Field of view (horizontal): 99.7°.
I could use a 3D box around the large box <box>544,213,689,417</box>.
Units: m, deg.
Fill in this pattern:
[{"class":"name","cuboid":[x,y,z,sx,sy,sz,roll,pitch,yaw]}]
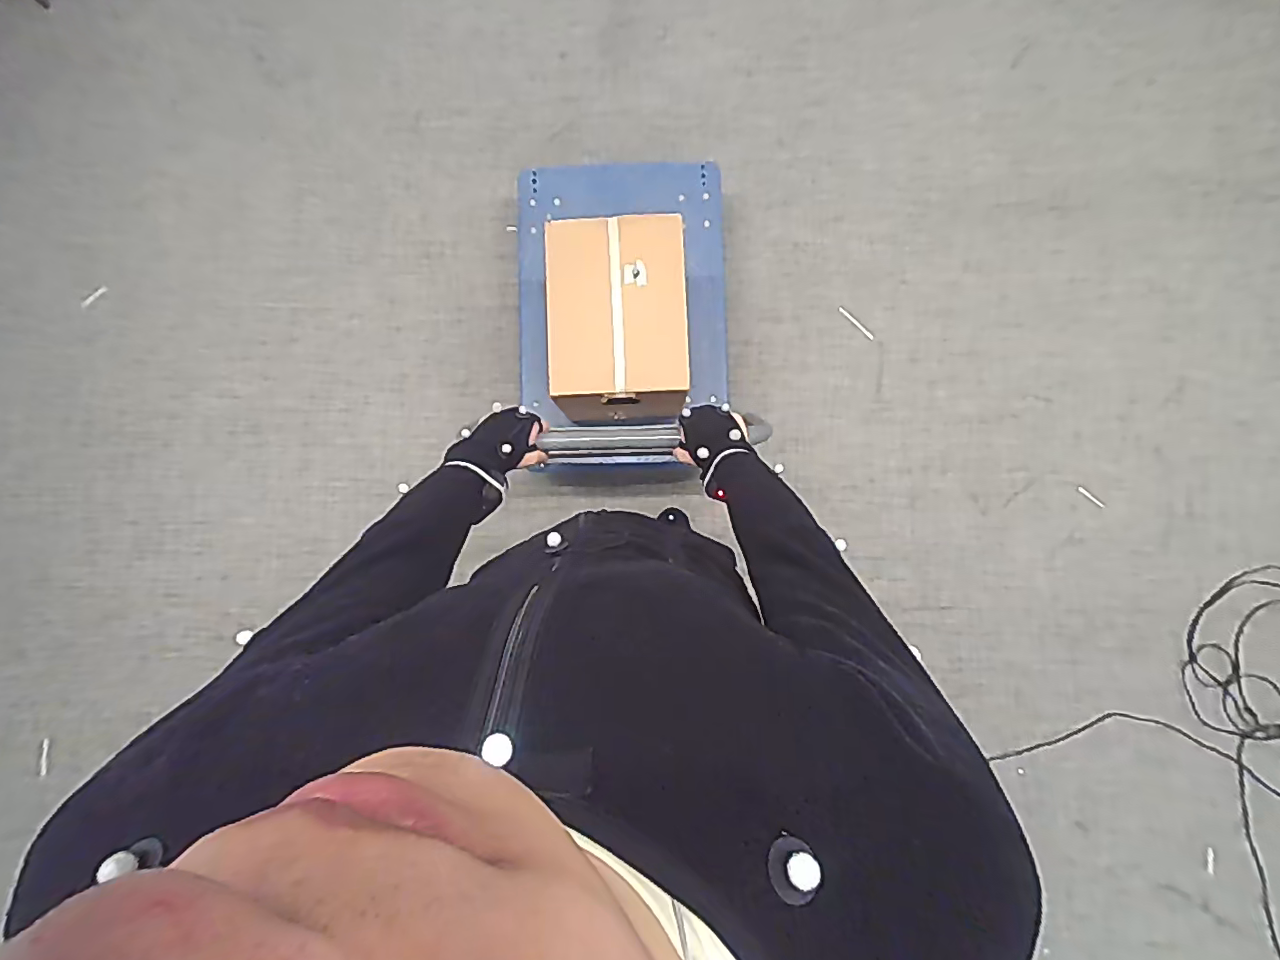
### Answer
[{"class":"large box","cuboid":[-0.051,-0.389,1.361,0.320,0.320,0.408,-2,86,1]}]
